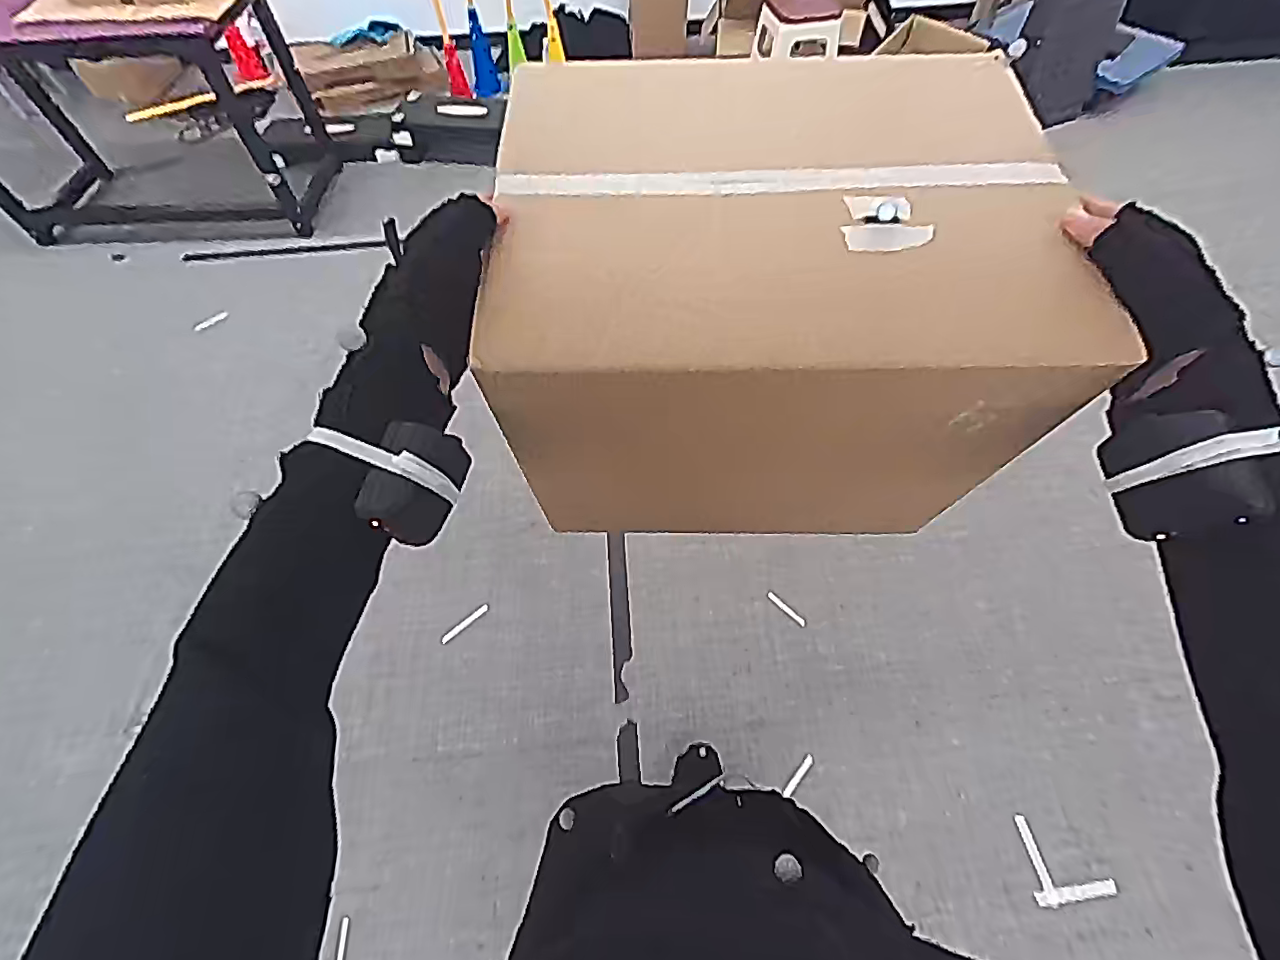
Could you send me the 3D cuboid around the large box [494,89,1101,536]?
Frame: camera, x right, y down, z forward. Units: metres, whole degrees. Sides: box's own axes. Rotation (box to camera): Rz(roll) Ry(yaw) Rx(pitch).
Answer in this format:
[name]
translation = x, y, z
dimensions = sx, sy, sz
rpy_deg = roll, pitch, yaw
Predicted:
[large box]
translation = 0.101, -0.139, 0.545
dimensions = 0.408, 0.320, 0.320
rpy_deg = 0, 66, 1
